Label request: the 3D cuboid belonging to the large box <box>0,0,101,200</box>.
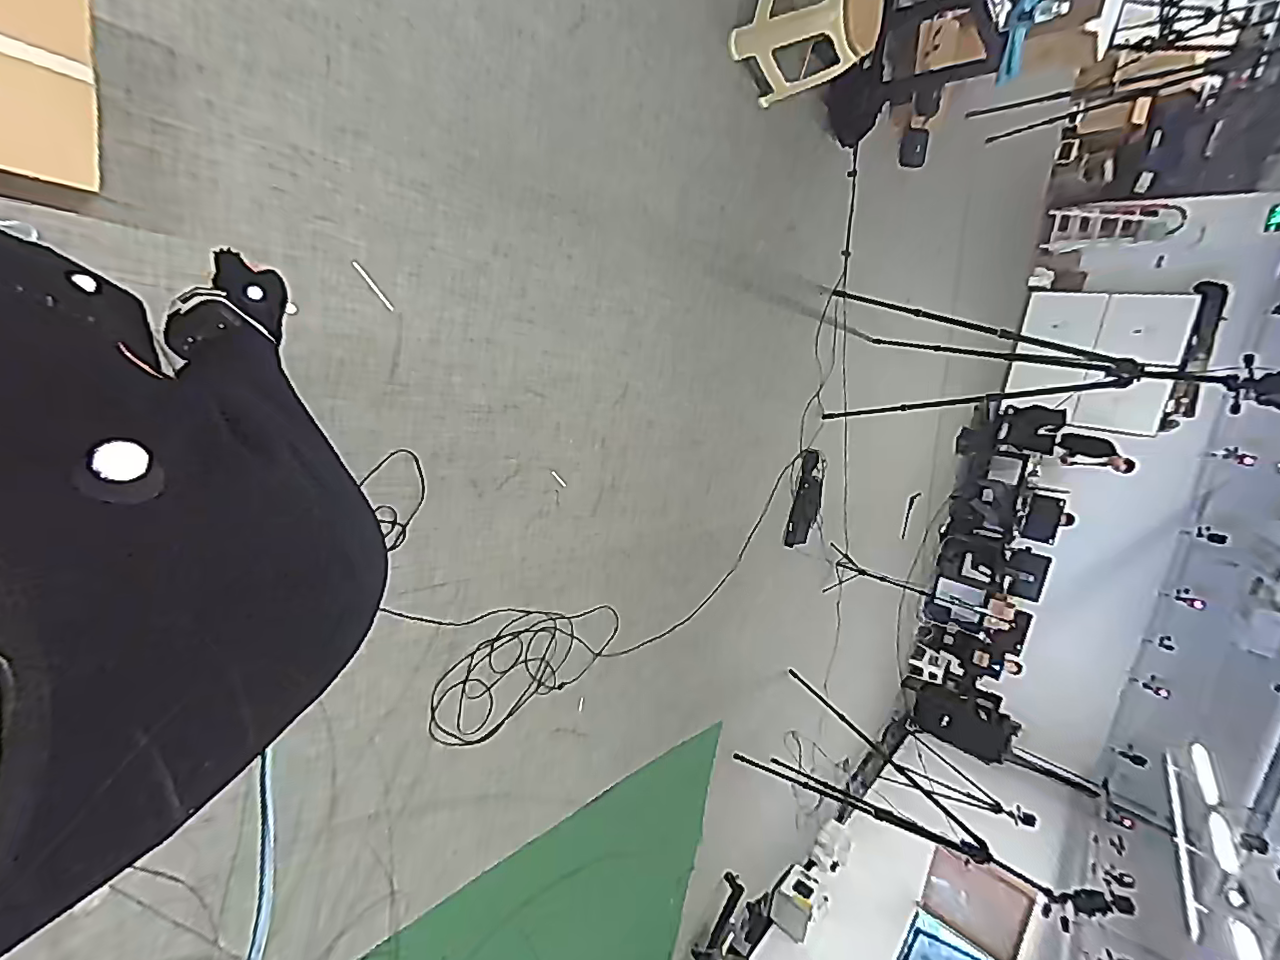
[{"bbox_3d":[-1.031,-0.616,0.727,0.408,0.320,0.320,-4,107,-49],"label":"large box"}]
